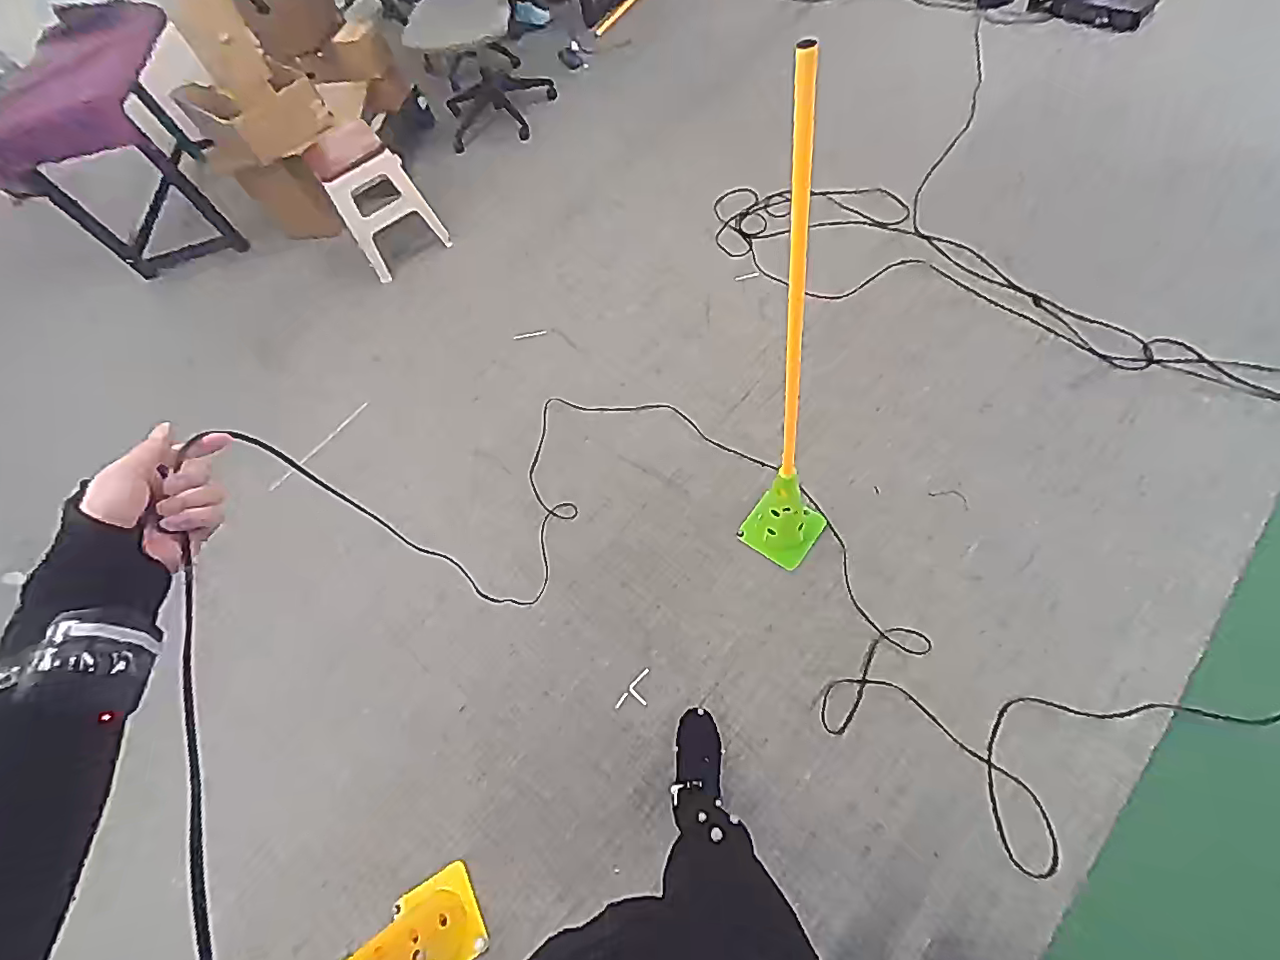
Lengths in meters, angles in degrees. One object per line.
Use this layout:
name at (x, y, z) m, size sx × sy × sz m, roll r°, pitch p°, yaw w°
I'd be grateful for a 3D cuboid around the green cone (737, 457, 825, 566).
green cone at (0.385, 0.051, 1.437) m, size 0.200 × 0.368 × 0.202 m, roll 32°, pitch 71°, yaw 24°
